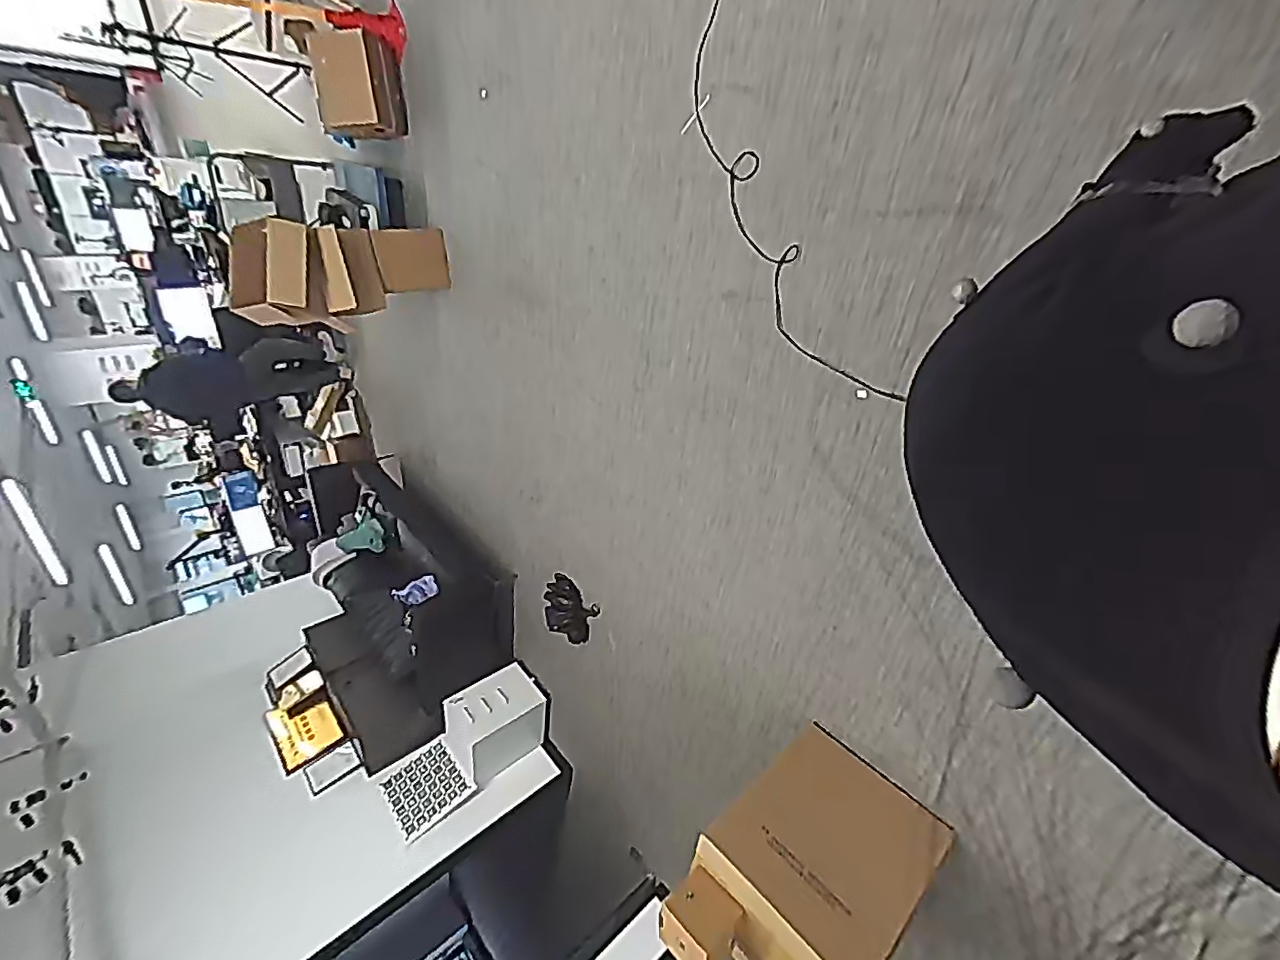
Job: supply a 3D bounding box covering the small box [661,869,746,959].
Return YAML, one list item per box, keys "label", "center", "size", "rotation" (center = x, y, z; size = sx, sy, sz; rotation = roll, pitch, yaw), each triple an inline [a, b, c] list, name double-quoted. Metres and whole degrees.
- label: "small box"
  center: [0.183, 1.293, 1.583]
  size: [0.179, 0.176, 0.168]
  rotation: [22, 119, 42]
